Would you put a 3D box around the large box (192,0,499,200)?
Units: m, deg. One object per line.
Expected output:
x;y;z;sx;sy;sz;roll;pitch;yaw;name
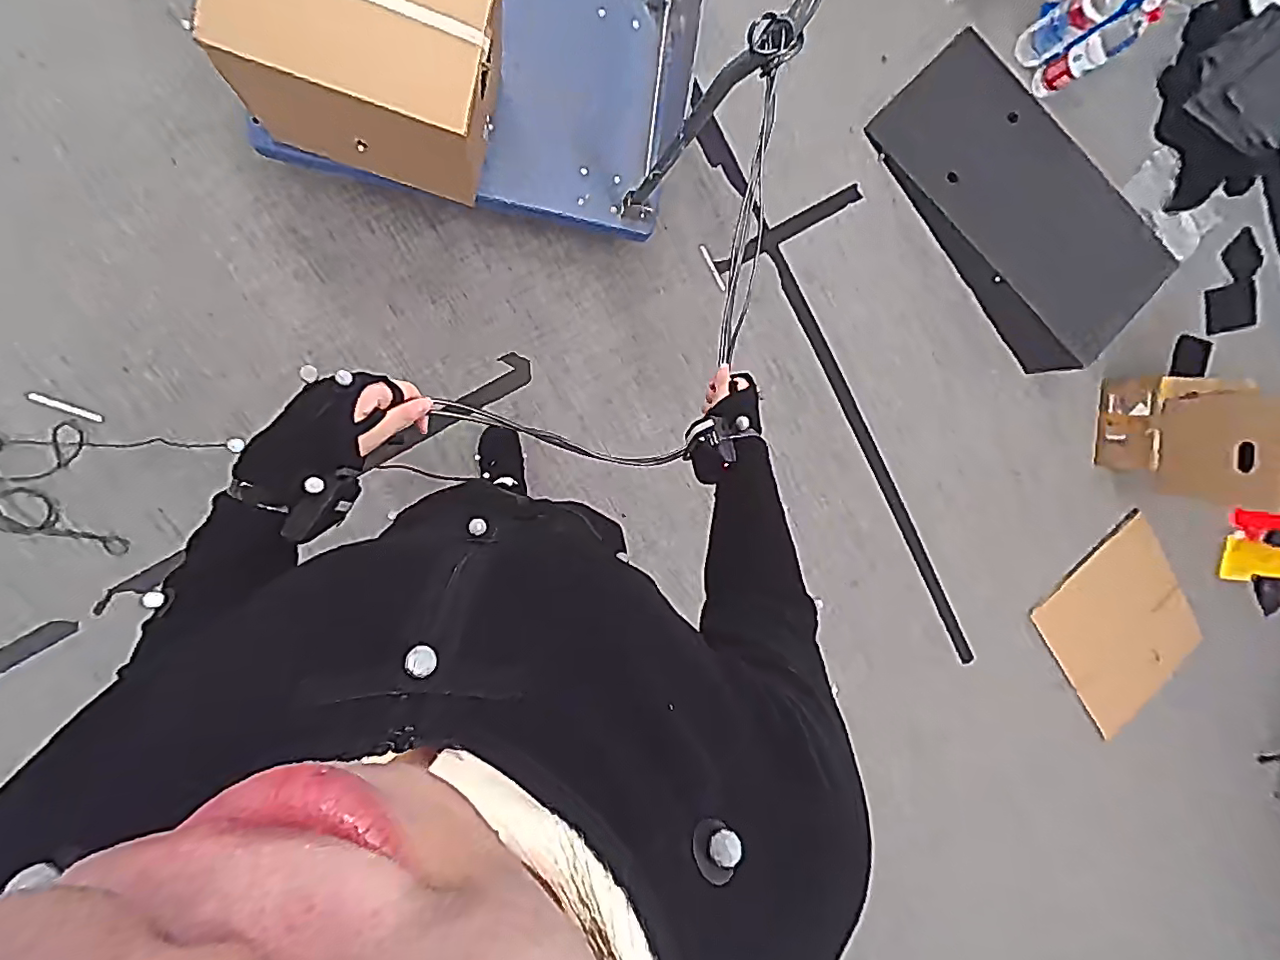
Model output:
-0.488;-0.781;0.995;0.408;0.320;0.320;12;92;-15;large box
